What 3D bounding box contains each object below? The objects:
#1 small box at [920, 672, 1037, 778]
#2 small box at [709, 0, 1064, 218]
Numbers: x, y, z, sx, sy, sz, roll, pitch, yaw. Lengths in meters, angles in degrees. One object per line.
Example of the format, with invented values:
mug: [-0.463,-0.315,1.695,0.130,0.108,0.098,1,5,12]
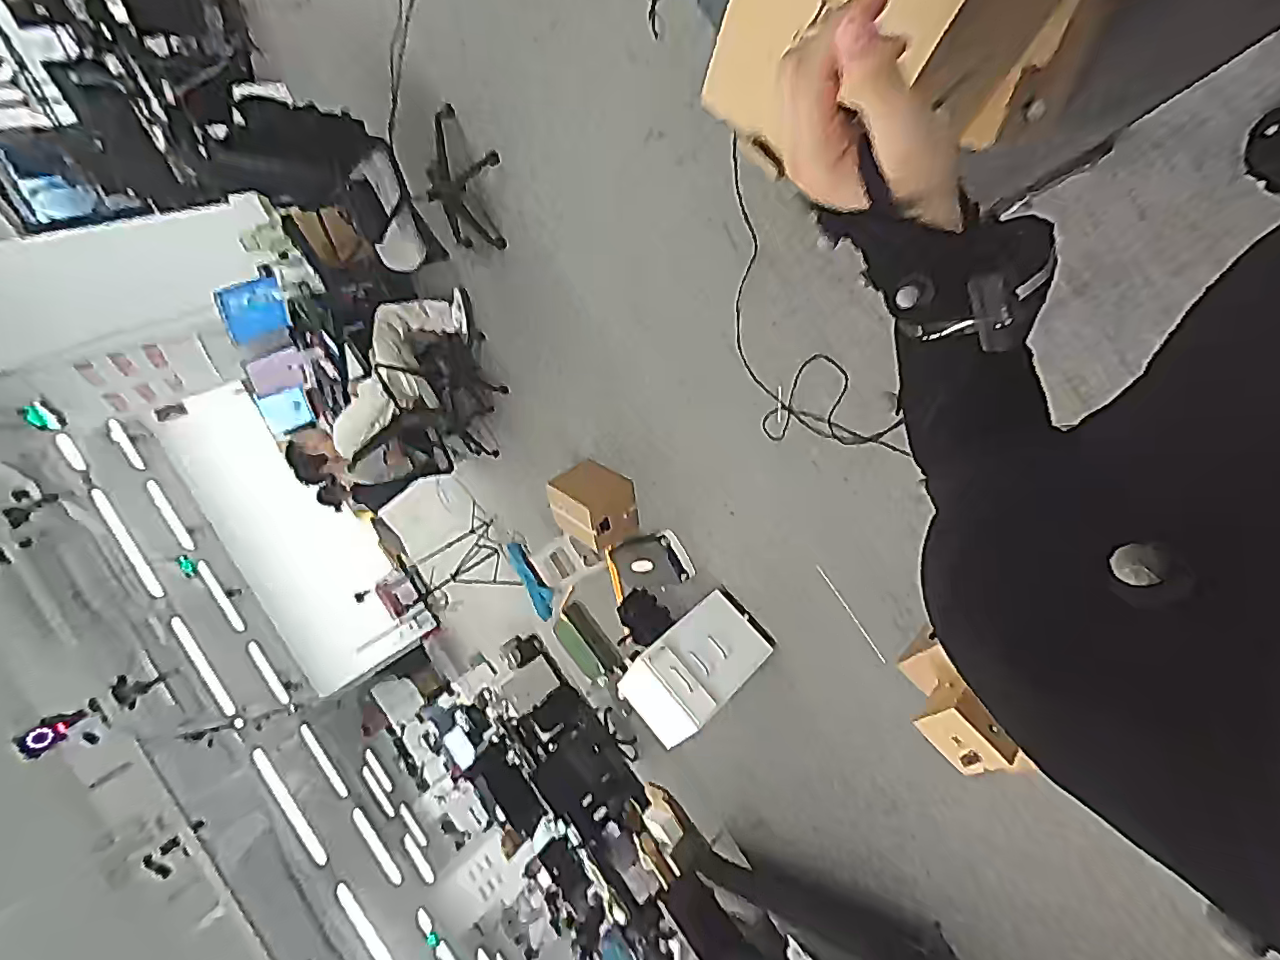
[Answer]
small box: [0.901,0.649,1.437,0.179,0.176,0.168,47,146,18]
small box: [0.191,-0.349,0.428,0.168,0.176,0.179,50,149,15]
